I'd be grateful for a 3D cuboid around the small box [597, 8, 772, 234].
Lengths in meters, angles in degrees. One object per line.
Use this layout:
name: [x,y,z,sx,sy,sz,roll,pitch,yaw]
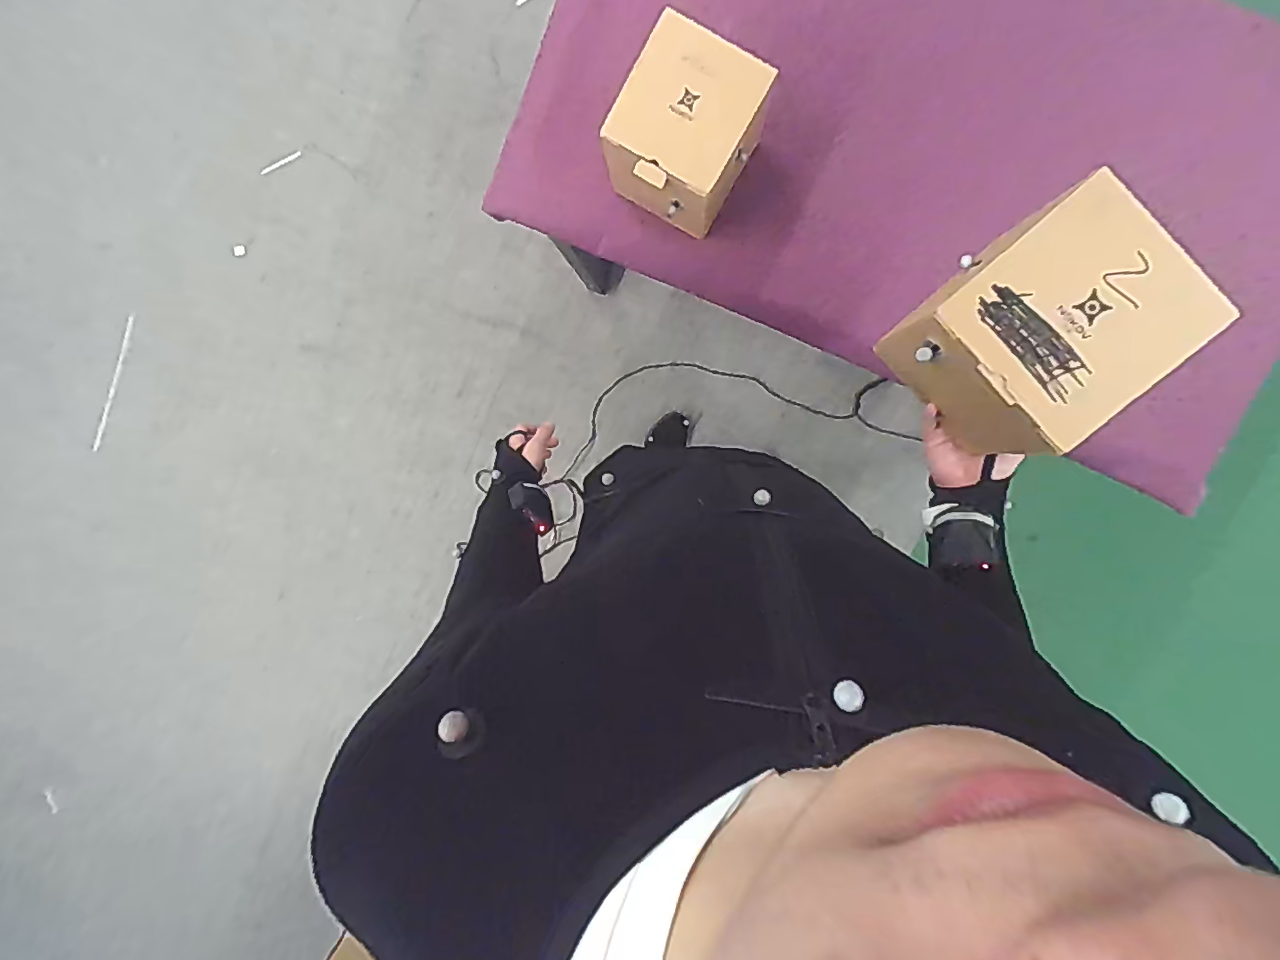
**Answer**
small box: [0.062,-0.486,0.765,0.168,0.176,0.179,31,96,1]
